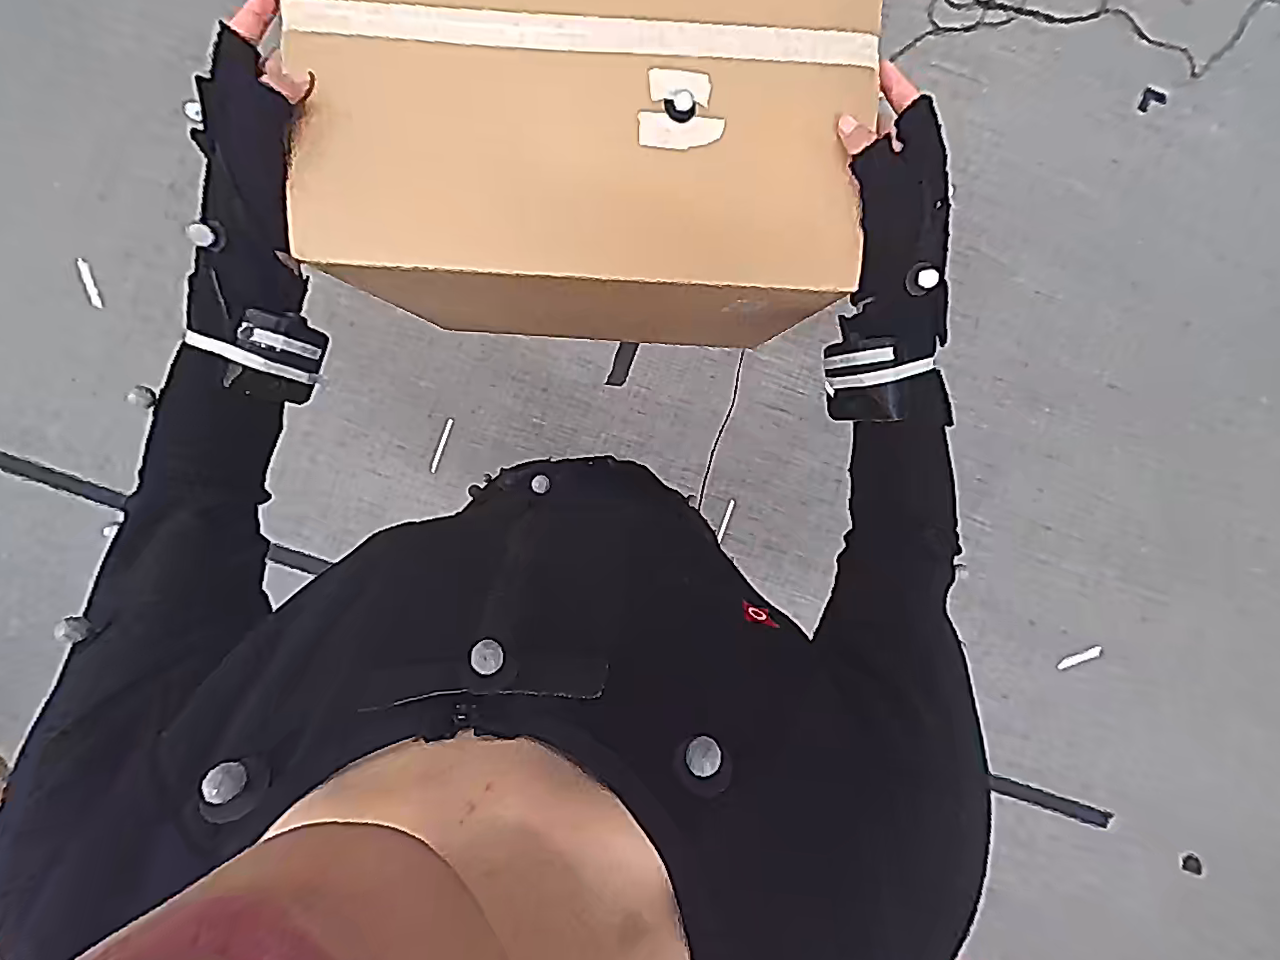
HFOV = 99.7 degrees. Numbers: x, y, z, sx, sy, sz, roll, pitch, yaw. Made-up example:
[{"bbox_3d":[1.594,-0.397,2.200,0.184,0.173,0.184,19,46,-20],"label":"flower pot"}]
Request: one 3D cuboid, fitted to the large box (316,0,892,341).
[{"bbox_3d":[-0.030,-0.322,0.525,0.408,0.320,0.320,3,97,-2],"label":"large box"}]
